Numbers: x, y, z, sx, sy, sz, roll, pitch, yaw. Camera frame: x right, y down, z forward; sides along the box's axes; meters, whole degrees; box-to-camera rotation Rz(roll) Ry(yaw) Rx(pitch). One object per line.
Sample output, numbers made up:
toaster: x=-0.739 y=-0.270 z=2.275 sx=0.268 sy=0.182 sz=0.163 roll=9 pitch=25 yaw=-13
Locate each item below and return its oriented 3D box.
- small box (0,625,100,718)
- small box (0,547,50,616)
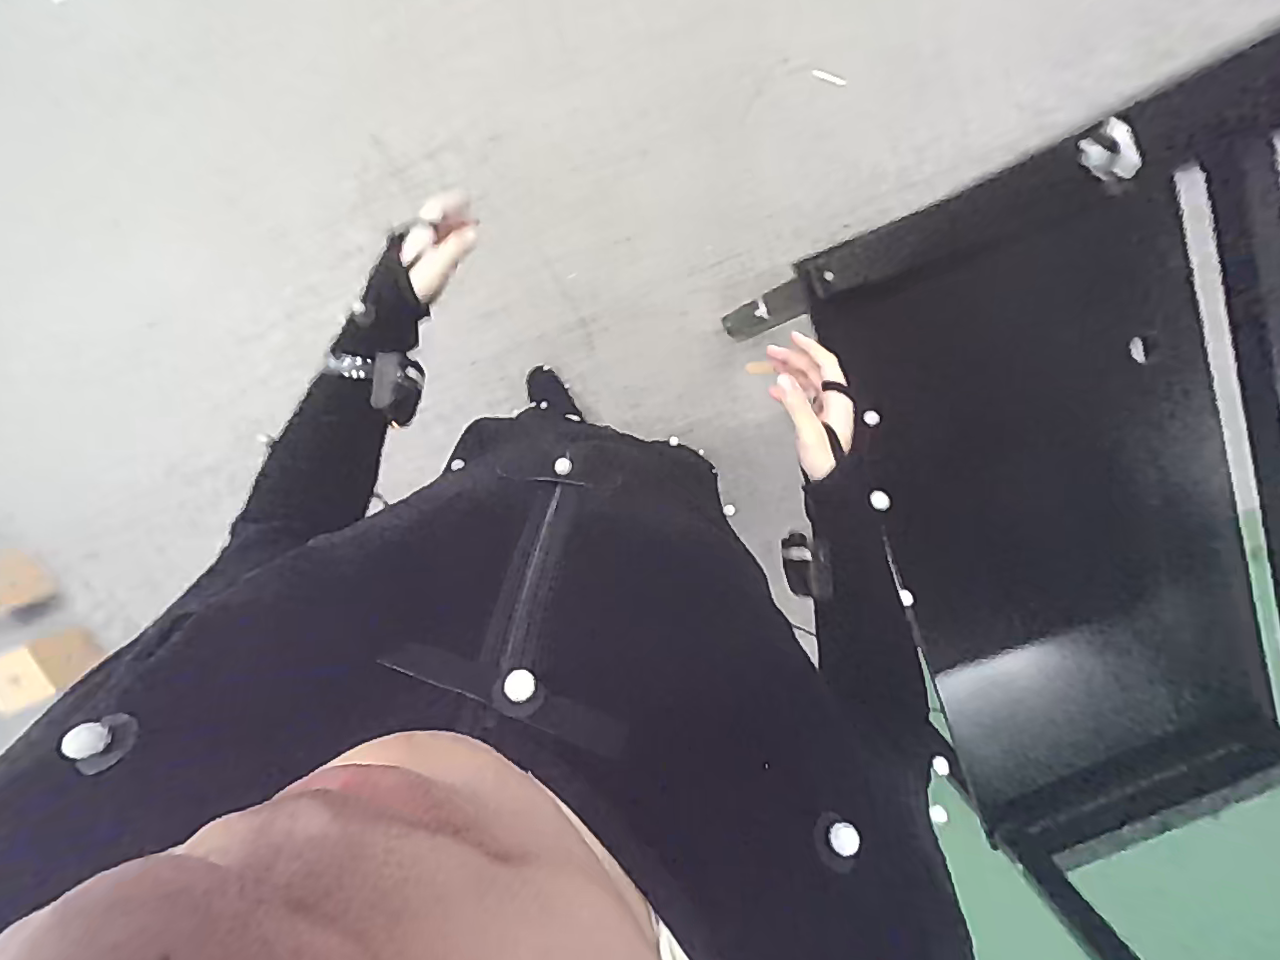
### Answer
small box: x=-1.757 y=0.553 z=1.586 sx=0.179 sy=0.176 sz=0.168 roll=-21 pitch=101 yaw=2
small box: x=-1.858 y=0.310 z=1.538 sx=0.179 sy=0.176 sz=0.168 roll=-21 pitch=101 yaw=2
